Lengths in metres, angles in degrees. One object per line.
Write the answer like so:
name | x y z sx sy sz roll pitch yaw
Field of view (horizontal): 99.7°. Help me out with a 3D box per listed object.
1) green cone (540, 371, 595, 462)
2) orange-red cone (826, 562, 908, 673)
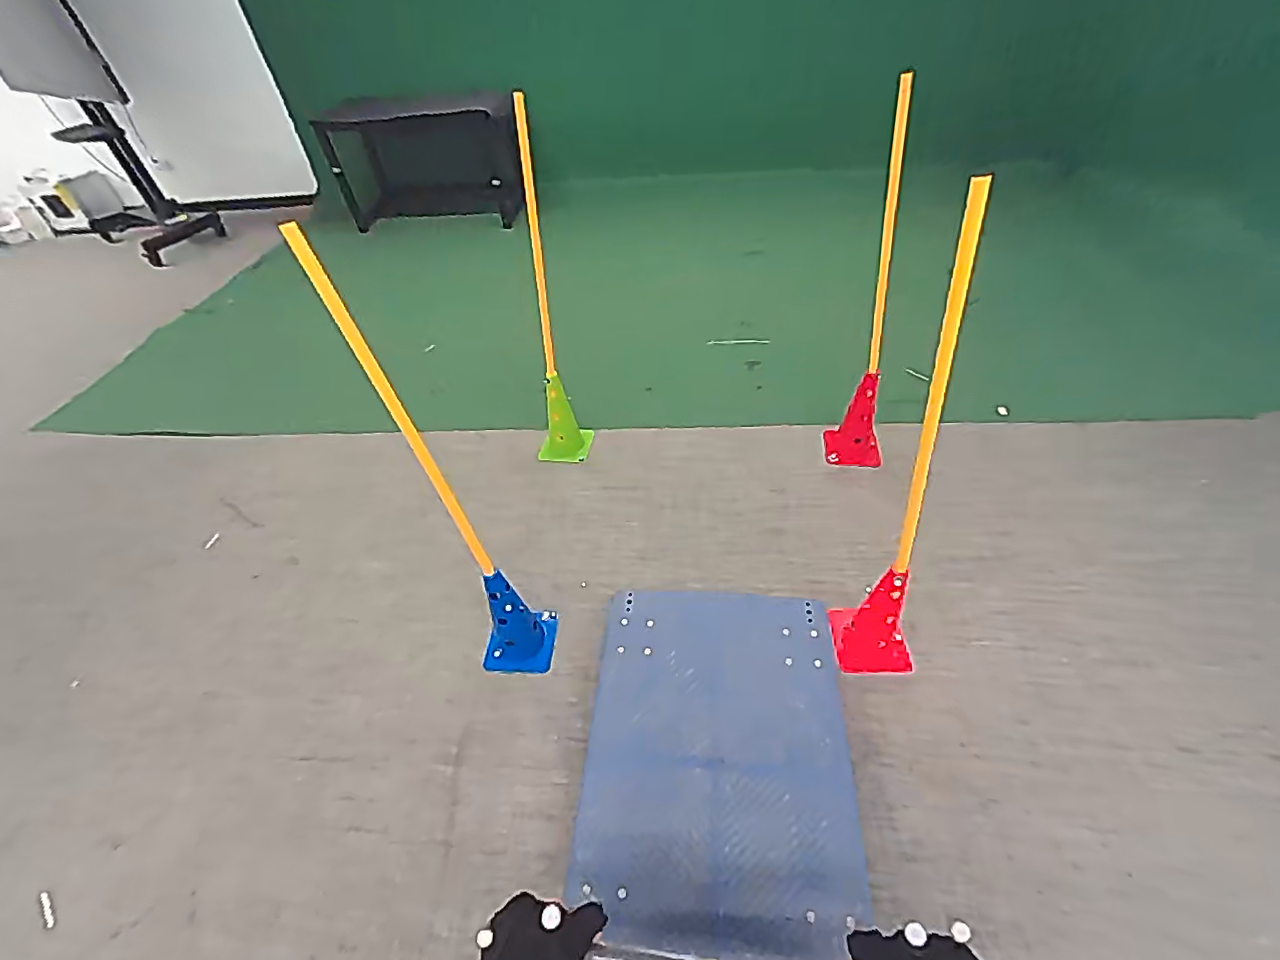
green cone | -0.313 -0.268 2.126 0.202 0.368 0.200 2 45 9
orange-red cone | 0.635 0.340 1.439 0.199 0.360 0.198 -2 45 6
